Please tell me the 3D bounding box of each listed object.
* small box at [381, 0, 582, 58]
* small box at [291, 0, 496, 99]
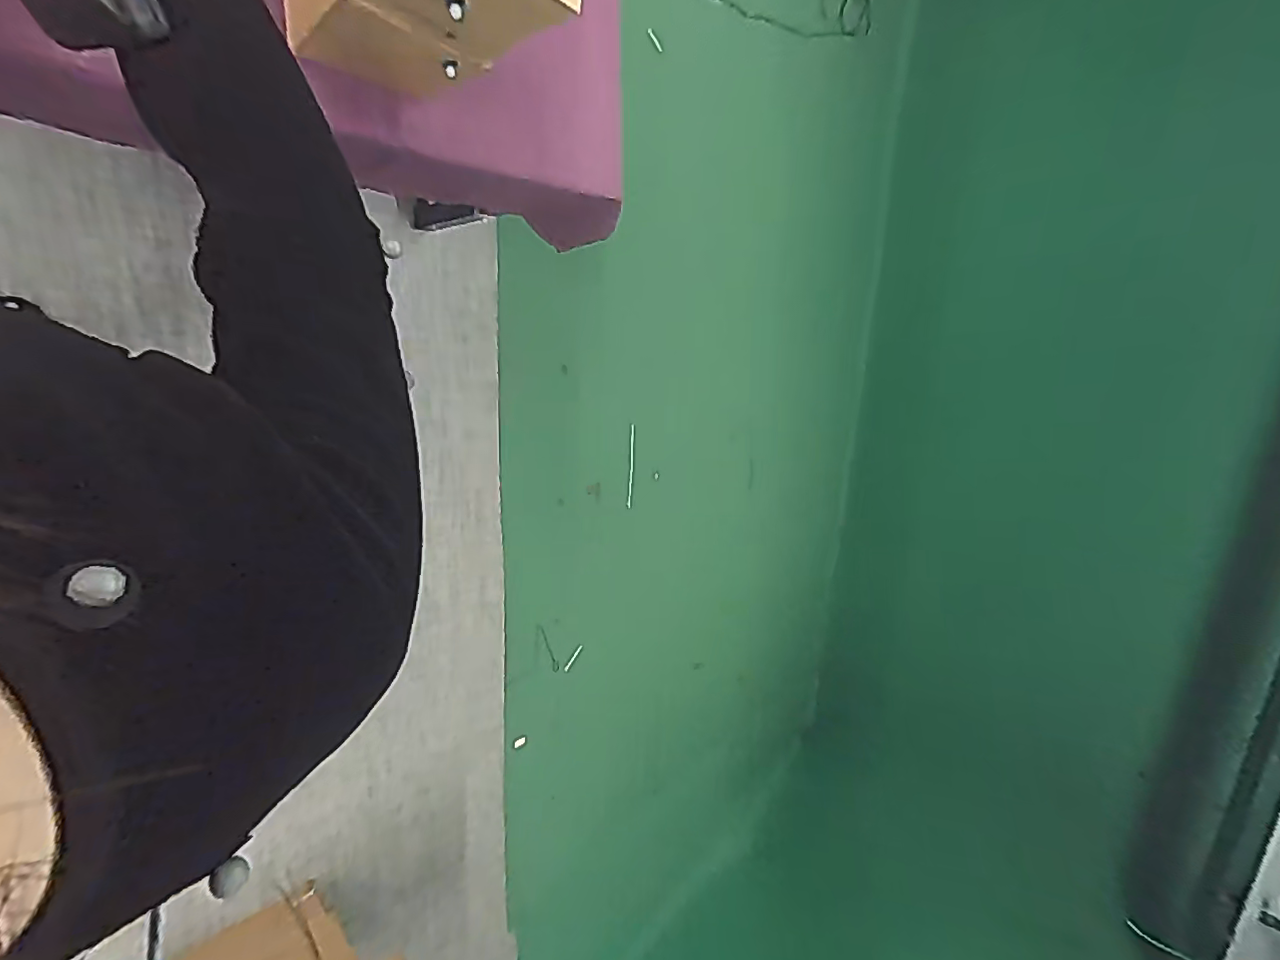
[{"bbox_3d":[-0.167,-0.551,0.513,0.168,0.176,0.179,-10,108,-47],"label":"small box"},{"bbox_3d":[-0.288,-0.576,0.623,0.179,0.176,0.168,-12,110,-46],"label":"small box"}]
